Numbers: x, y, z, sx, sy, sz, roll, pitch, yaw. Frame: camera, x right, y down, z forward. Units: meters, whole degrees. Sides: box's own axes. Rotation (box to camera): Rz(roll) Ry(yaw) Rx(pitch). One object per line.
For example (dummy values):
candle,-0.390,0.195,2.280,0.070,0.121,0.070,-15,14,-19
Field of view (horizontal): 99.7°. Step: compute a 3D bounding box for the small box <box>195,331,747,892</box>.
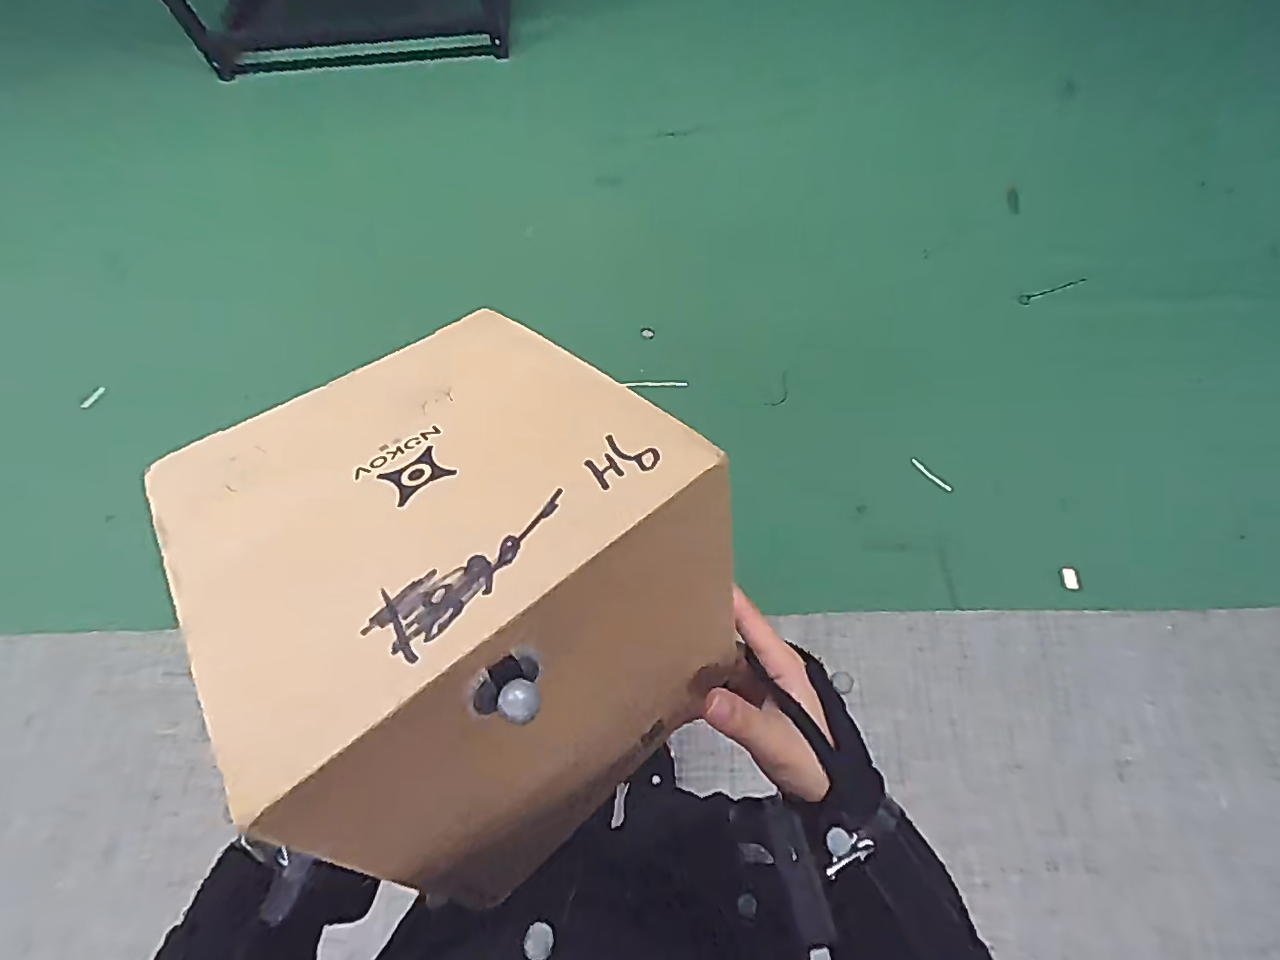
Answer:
small box,-0.066,0.057,0.270,0.168,0.176,0.179,-37,50,-22
